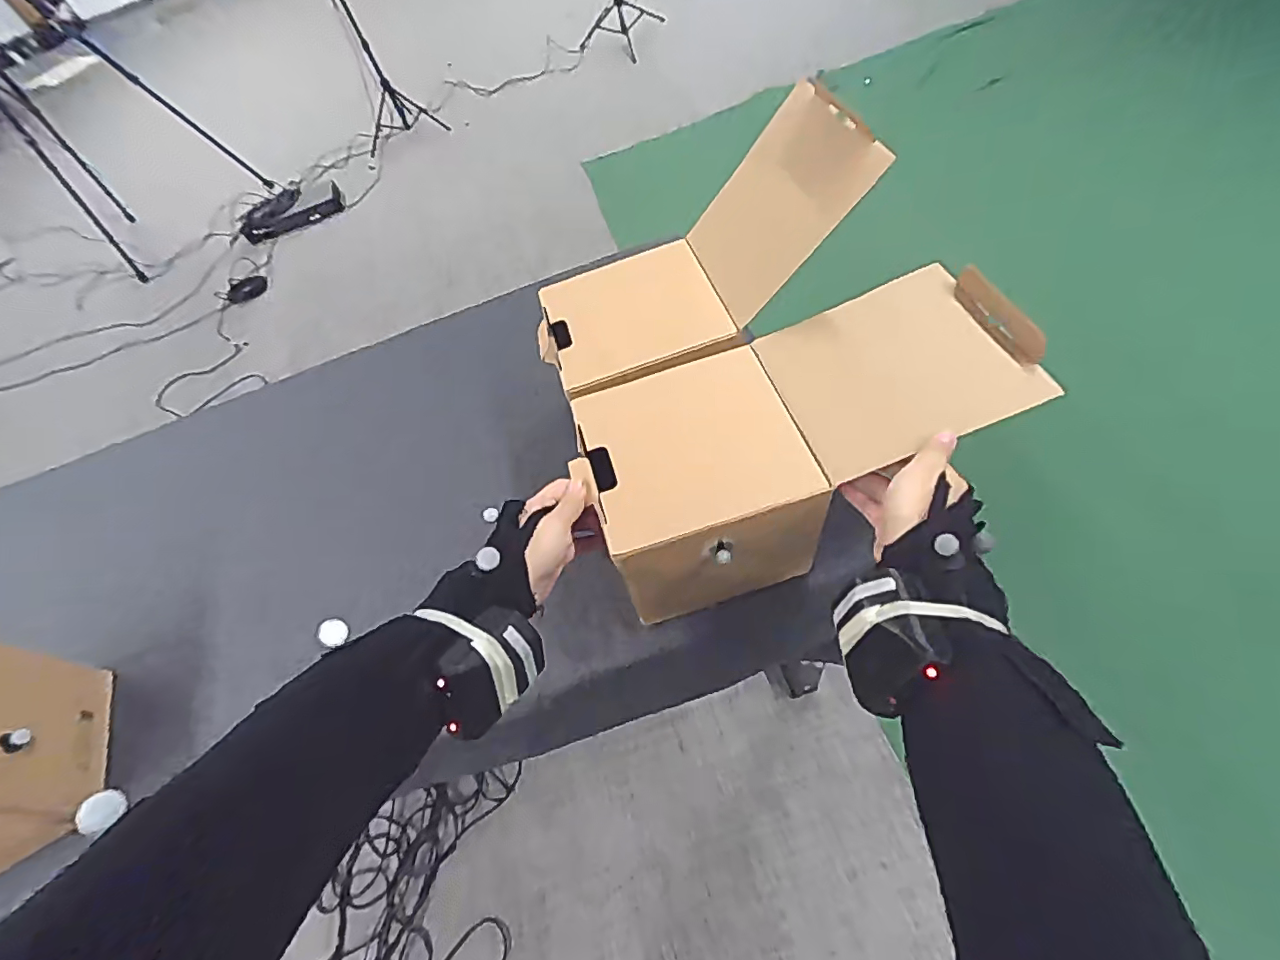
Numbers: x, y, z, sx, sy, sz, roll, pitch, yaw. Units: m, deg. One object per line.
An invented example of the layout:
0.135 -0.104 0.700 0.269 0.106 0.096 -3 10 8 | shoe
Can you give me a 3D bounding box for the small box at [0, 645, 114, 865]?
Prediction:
-0.665 0.272 0.515 0.179 0.176 0.168 -31 55 -7 | small box
